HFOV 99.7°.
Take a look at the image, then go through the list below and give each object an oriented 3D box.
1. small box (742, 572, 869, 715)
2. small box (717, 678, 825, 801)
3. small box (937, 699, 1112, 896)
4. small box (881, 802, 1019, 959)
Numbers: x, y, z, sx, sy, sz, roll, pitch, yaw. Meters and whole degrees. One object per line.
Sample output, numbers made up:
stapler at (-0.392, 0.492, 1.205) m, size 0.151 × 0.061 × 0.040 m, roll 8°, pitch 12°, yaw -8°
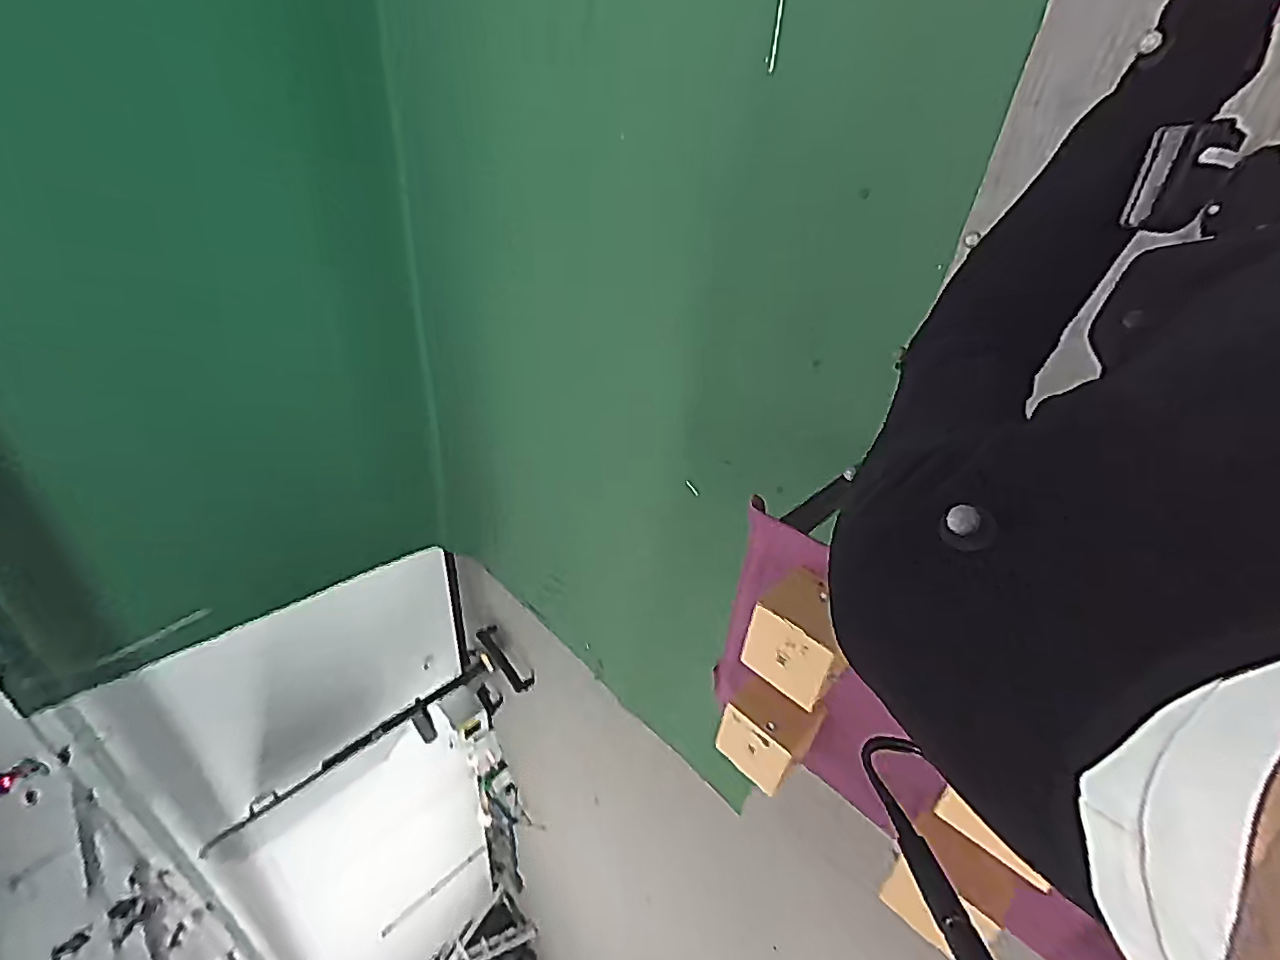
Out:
small box at (0.333, 0.322, 1.090) m, size 0.168 × 0.176 × 0.179 m, roll 31°, pitch 129°, yaw 33°
small box at (0.305, 0.589, 1.260) m, size 0.168 × 0.176 × 0.179 m, roll 31°, pitch 130°, yaw 33°
small box at (0.617, 0.499, 0.870) m, size 0.168 × 0.176 × 0.179 m, roll 28°, pitch 128°, yaw 37°
small box at (0.595, 0.772, 1.032) m, size 0.168 × 0.176 × 0.179 m, roll 28°, pitch 127°, yaw 35°
